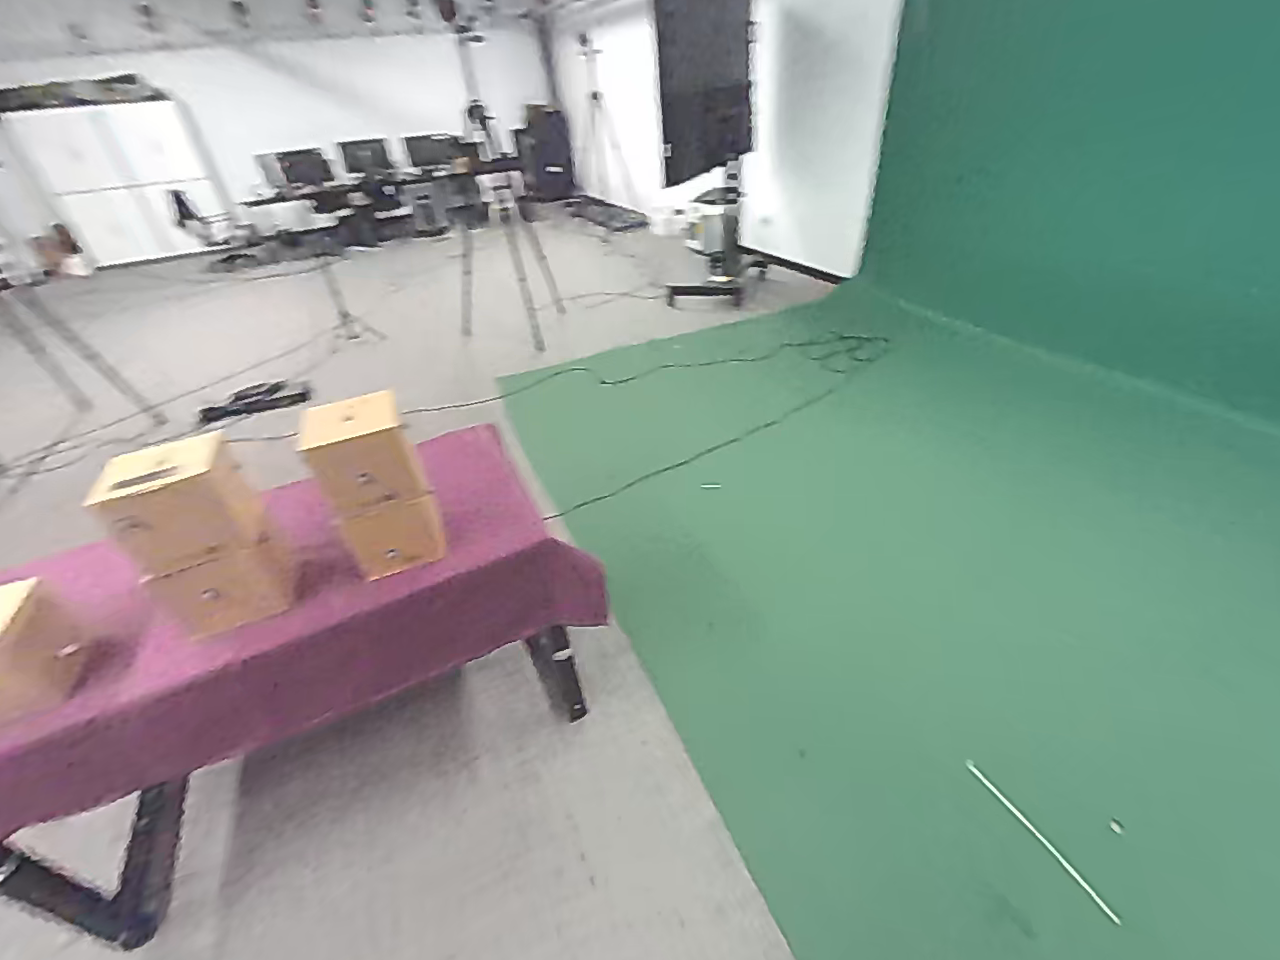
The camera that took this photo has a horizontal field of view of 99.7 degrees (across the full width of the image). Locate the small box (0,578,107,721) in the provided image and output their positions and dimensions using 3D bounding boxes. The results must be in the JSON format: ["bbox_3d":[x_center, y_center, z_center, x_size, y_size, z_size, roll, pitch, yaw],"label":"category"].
[{"bbox_3d":[-1.120,0.310,0.954,0.179,0.176,0.168,-17,37,-17],"label":"small box"}]

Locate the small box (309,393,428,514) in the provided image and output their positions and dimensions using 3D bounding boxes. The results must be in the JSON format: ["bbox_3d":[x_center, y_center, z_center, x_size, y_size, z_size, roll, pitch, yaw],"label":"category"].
[{"bbox_3d":[-0.540,-0.050,1.091,0.168,0.176,0.179,-17,37,-16],"label":"small box"}]

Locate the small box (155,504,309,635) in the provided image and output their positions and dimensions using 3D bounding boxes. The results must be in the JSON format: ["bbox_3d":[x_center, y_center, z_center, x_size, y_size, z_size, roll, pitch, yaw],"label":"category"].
[{"bbox_3d":[-0.807,0.181,1.090,0.179,0.176,0.168,-18,37,-15],"label":"small box"}]

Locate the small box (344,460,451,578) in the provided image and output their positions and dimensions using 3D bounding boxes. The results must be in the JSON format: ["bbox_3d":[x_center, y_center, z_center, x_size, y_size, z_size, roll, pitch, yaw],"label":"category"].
[{"bbox_3d":[-0.527,0.084,1.188,0.168,0.176,0.179,-17,38,-15],"label":"small box"}]
